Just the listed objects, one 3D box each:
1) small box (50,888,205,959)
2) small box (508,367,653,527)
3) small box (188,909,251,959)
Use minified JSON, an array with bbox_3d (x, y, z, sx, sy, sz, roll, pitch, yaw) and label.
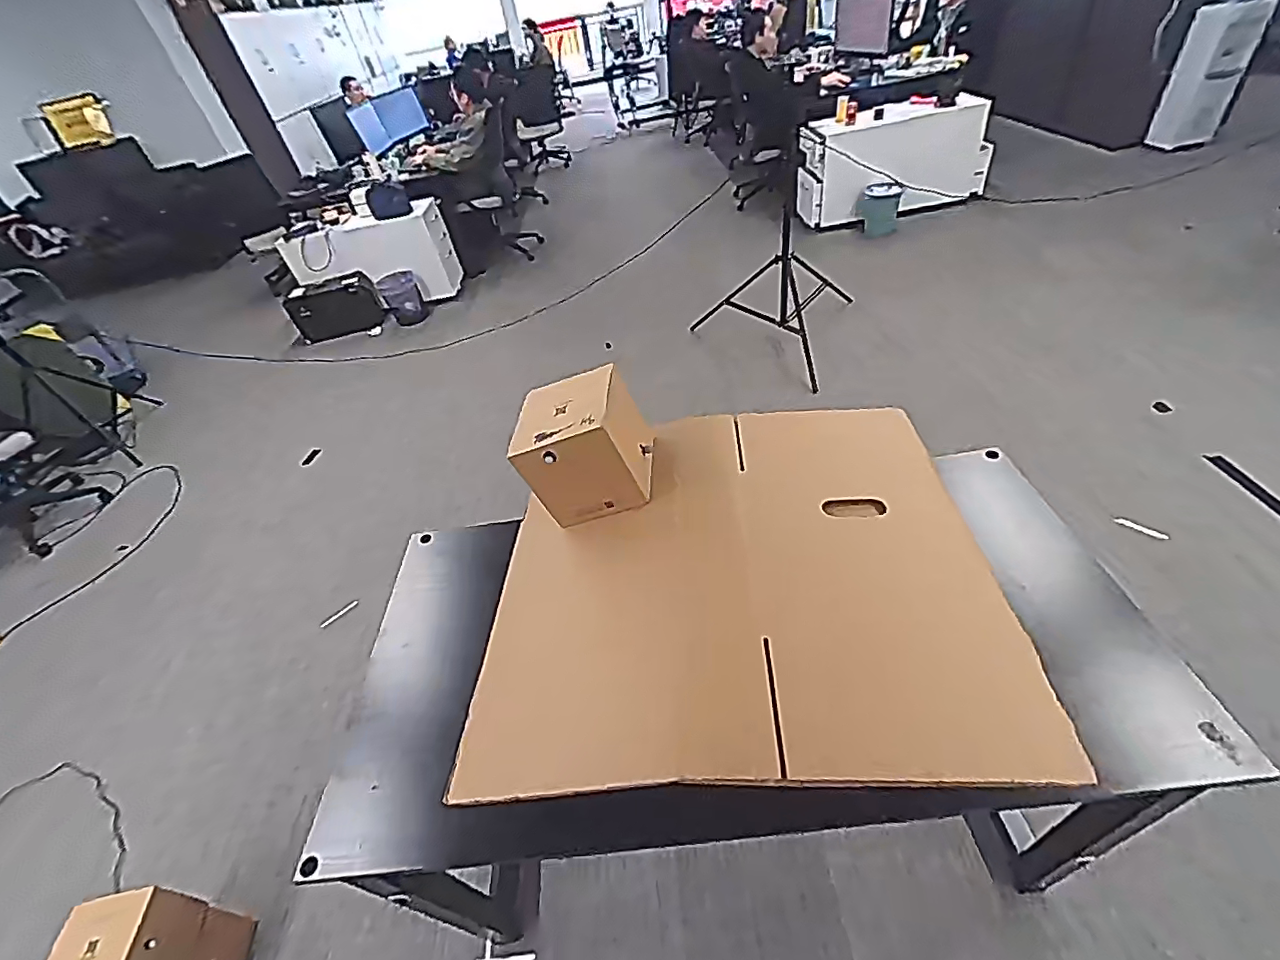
[{"bbox_3d":[-1.038,0.963,1.090,0.168,0.176,0.179,-13,41,-2],"label":"small box"},{"bbox_3d":[-0.086,-0.052,0.892,0.168,0.176,0.179,-17,39,18],"label":"small box"},{"bbox_3d":[-1.010,1.084,1.194,0.168,0.176,0.179,-11,43,1],"label":"small box"}]
